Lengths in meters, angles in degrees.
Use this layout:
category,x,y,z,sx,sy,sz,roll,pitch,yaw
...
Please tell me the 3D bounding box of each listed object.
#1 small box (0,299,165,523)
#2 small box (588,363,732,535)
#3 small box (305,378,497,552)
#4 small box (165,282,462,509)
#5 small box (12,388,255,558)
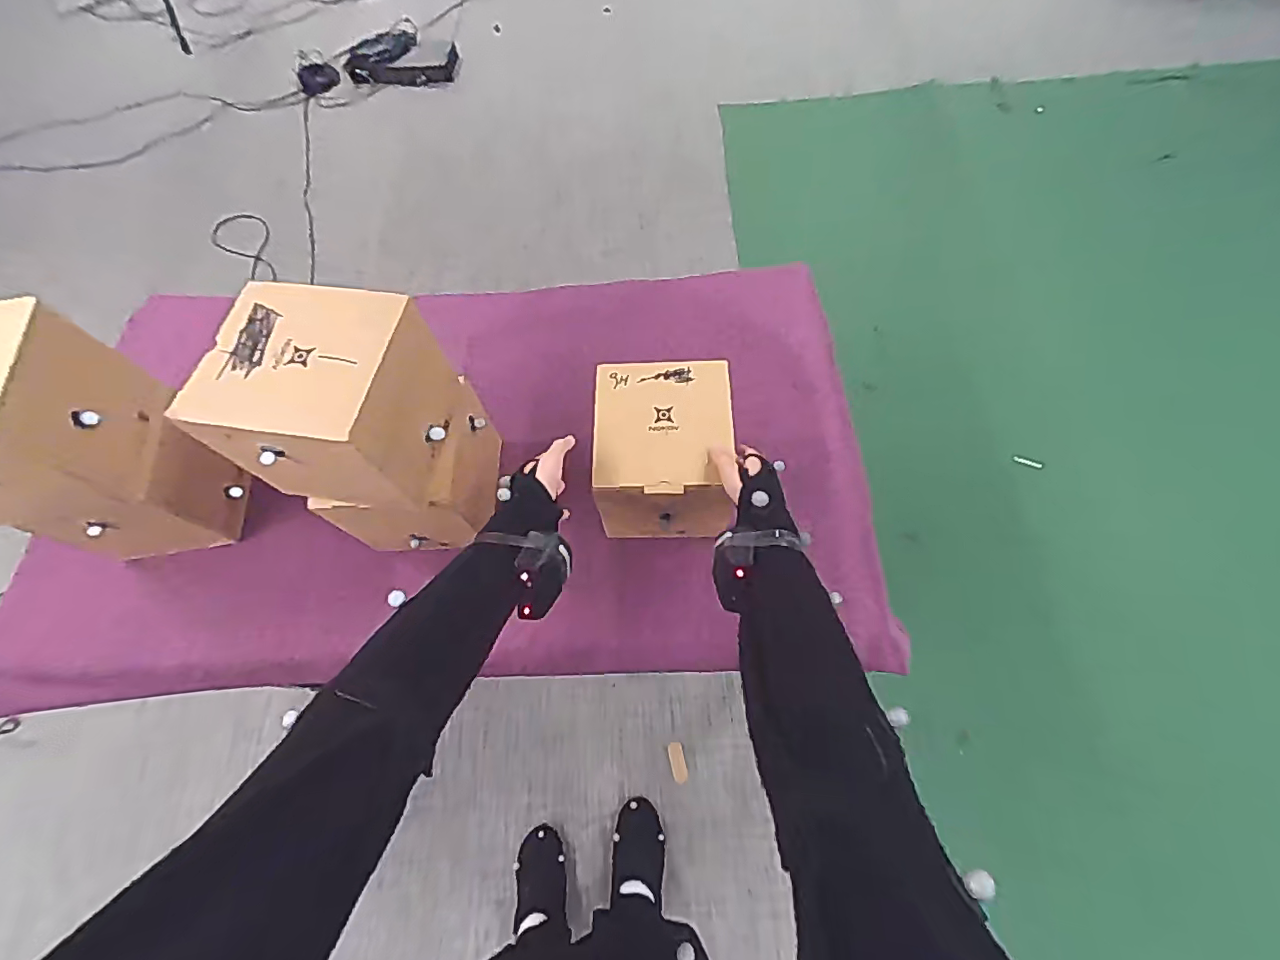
category,x,y,z,sx,sy,sz,roll,pitch,yaw
small box,-0.677,-0.065,0.587,0.179,0.176,0.168,-10,66,-1
small box,0.028,-0.031,0.709,0.168,0.176,0.179,-1,65,3
small box,-0.298,-0.014,0.720,0.168,0.176,0.179,-2,65,3
small box,-0.317,-0.080,0.570,0.179,0.176,0.168,8,66,6
small box,-0.675,-0.001,0.735,0.179,0.176,0.168,-8,65,-1
